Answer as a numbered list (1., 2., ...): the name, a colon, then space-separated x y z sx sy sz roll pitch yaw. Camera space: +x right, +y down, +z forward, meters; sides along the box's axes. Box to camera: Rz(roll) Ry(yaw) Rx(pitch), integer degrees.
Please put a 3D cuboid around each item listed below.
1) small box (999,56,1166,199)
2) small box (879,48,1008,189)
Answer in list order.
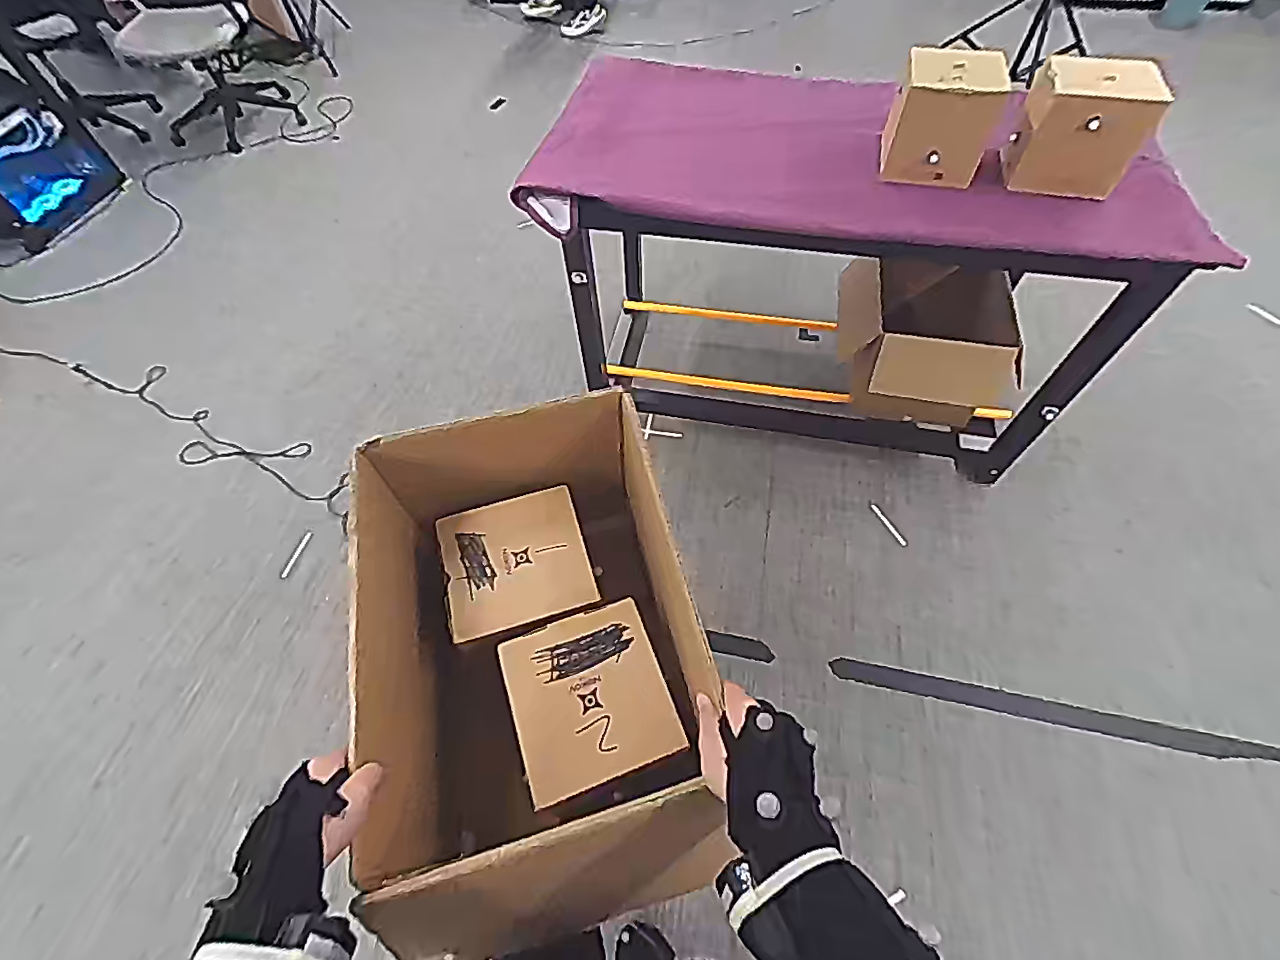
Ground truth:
1. small box: 0.808 -0.653 1.009 0.179 0.176 0.168 13 58 11
2. small box: 0.575 -0.699 1.047 0.168 0.176 0.179 11 58 10
